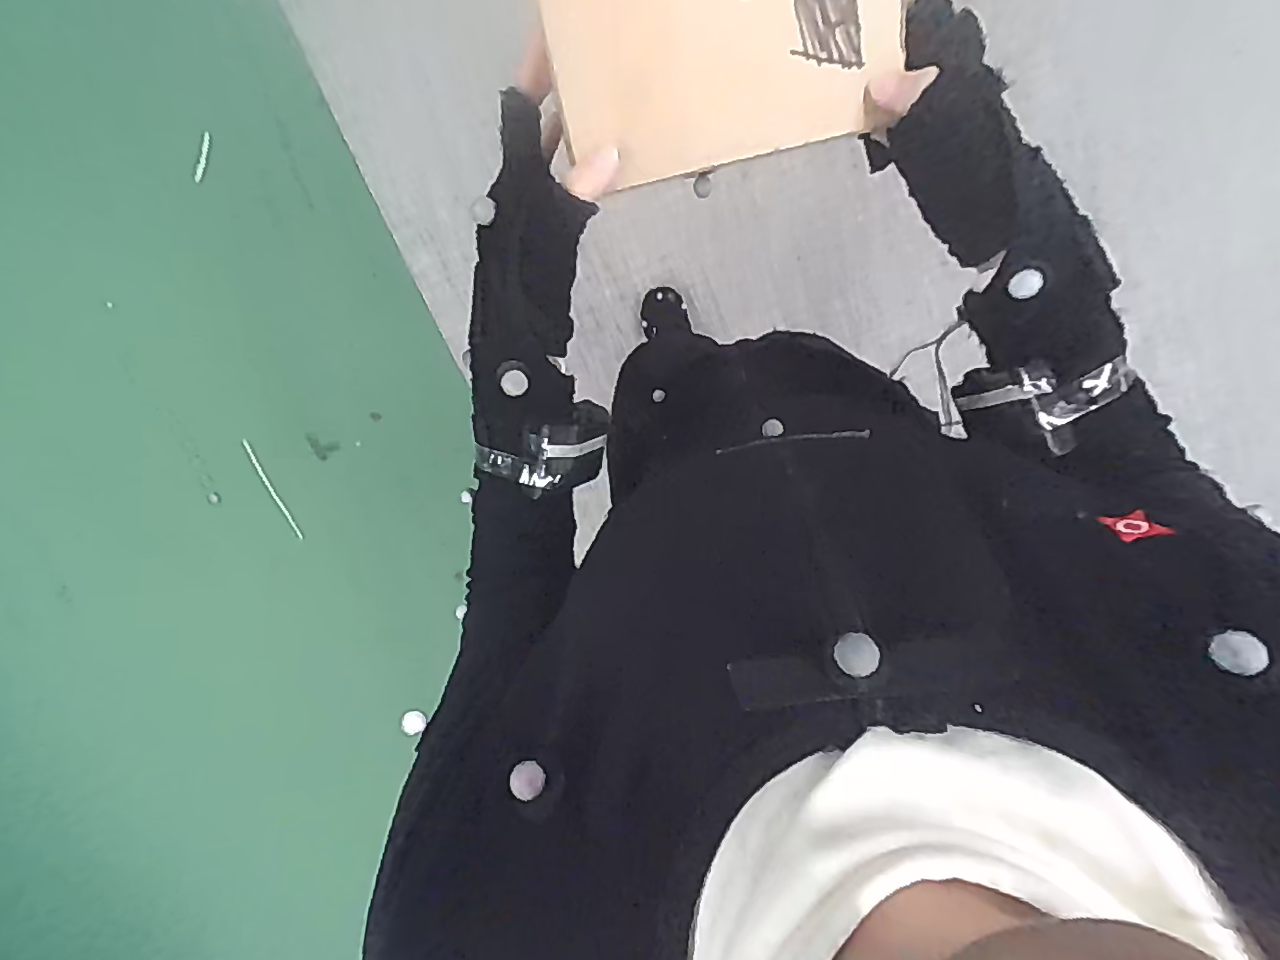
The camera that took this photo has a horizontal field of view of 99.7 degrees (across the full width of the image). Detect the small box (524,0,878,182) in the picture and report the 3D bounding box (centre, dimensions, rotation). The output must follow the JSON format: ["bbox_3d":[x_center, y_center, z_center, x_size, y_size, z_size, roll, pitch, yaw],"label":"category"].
[{"bbox_3d":[0.021,-0.290,0.329,0.179,0.176,0.168,-13,118,-1],"label":"small box"}]
